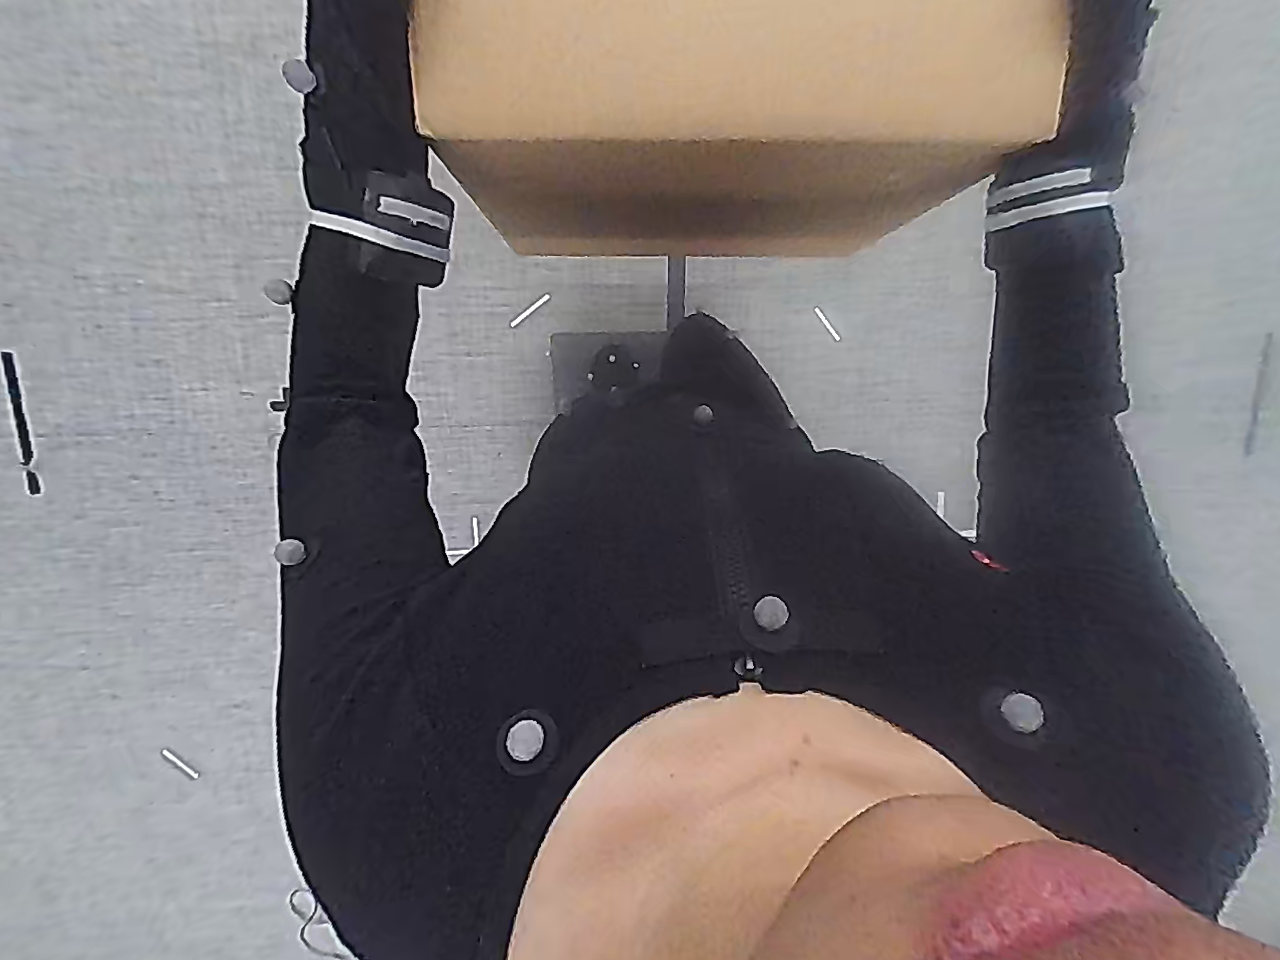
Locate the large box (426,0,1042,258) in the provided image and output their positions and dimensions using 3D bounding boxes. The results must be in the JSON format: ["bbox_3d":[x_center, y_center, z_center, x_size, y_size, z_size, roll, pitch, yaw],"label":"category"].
[{"bbox_3d":[0.054,-0.399,0.480,0.408,0.320,0.320,-1,100,-2],"label":"large box"}]
